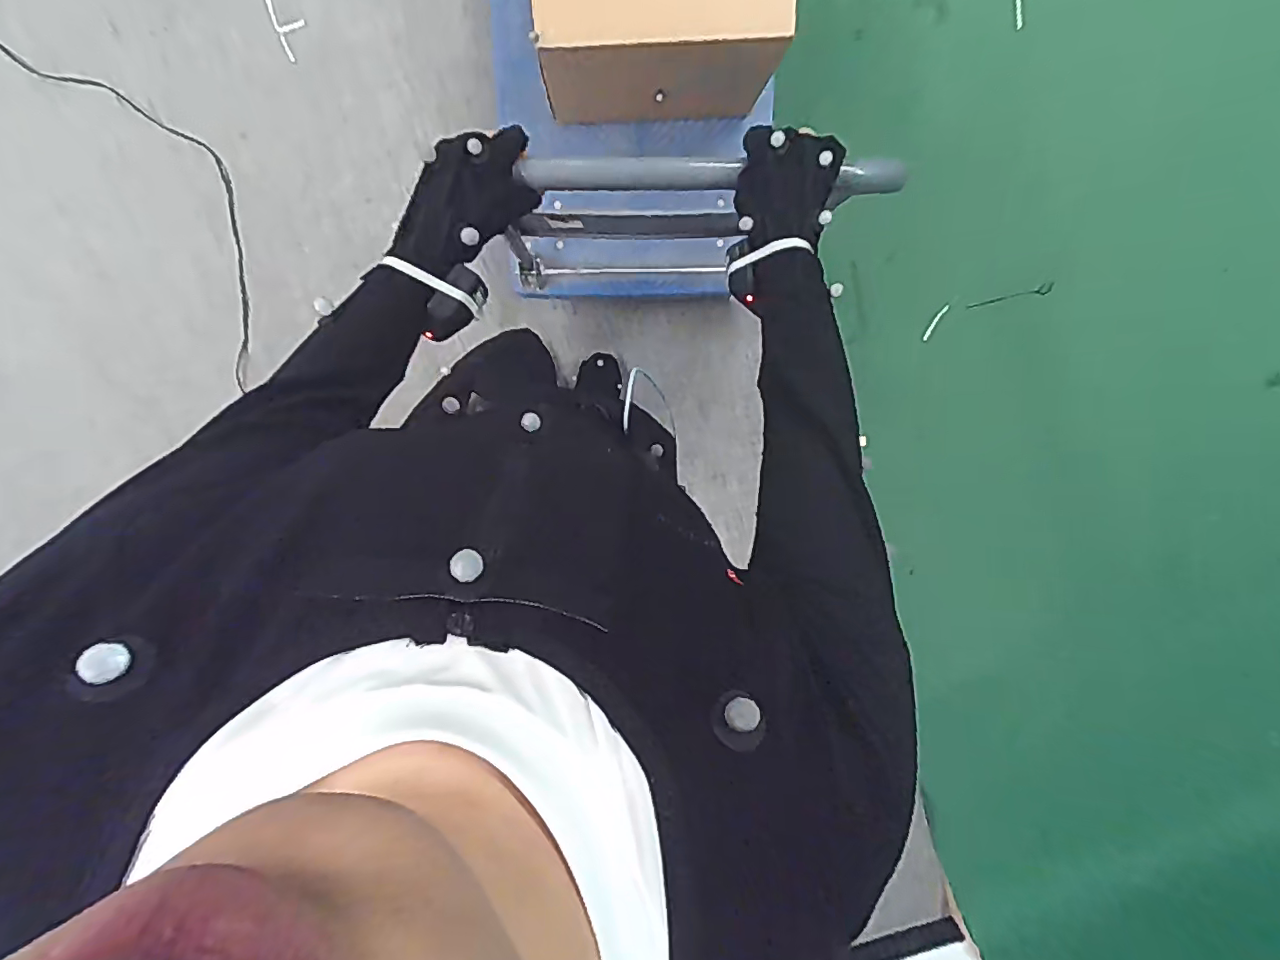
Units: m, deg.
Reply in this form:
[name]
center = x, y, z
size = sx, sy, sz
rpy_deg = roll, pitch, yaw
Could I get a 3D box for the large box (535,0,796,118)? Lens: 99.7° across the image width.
[large box]
center = 0.028, -0.869, 0.940
size = 0.408, 0.320, 0.320
rpy_deg = -4, 104, -1
